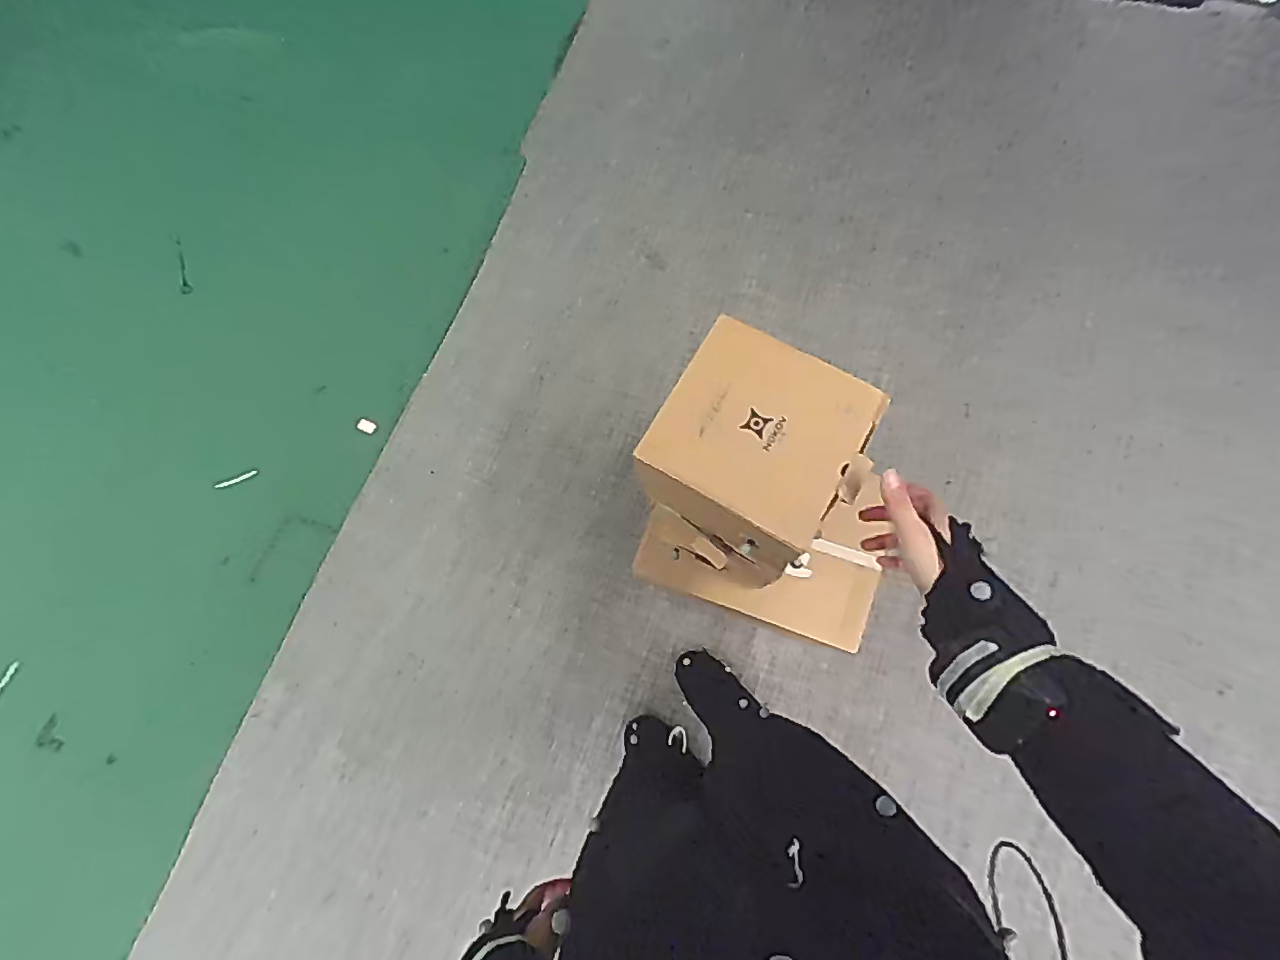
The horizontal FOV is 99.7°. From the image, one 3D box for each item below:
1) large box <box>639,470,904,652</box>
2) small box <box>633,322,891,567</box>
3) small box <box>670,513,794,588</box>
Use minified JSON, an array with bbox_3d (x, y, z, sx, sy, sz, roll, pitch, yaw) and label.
[{"bbox_3d":[0.242,0.123,1.097,0.408,0.320,0.320,19,79,10],"label":"large box"},{"bbox_3d":[0.116,-0.023,0.557,0.179,0.176,0.168,29,80,13],"label":"small box"},{"bbox_3d":[0.146,0.023,0.711,0.168,0.176,0.179,33,81,13],"label":"small box"}]
